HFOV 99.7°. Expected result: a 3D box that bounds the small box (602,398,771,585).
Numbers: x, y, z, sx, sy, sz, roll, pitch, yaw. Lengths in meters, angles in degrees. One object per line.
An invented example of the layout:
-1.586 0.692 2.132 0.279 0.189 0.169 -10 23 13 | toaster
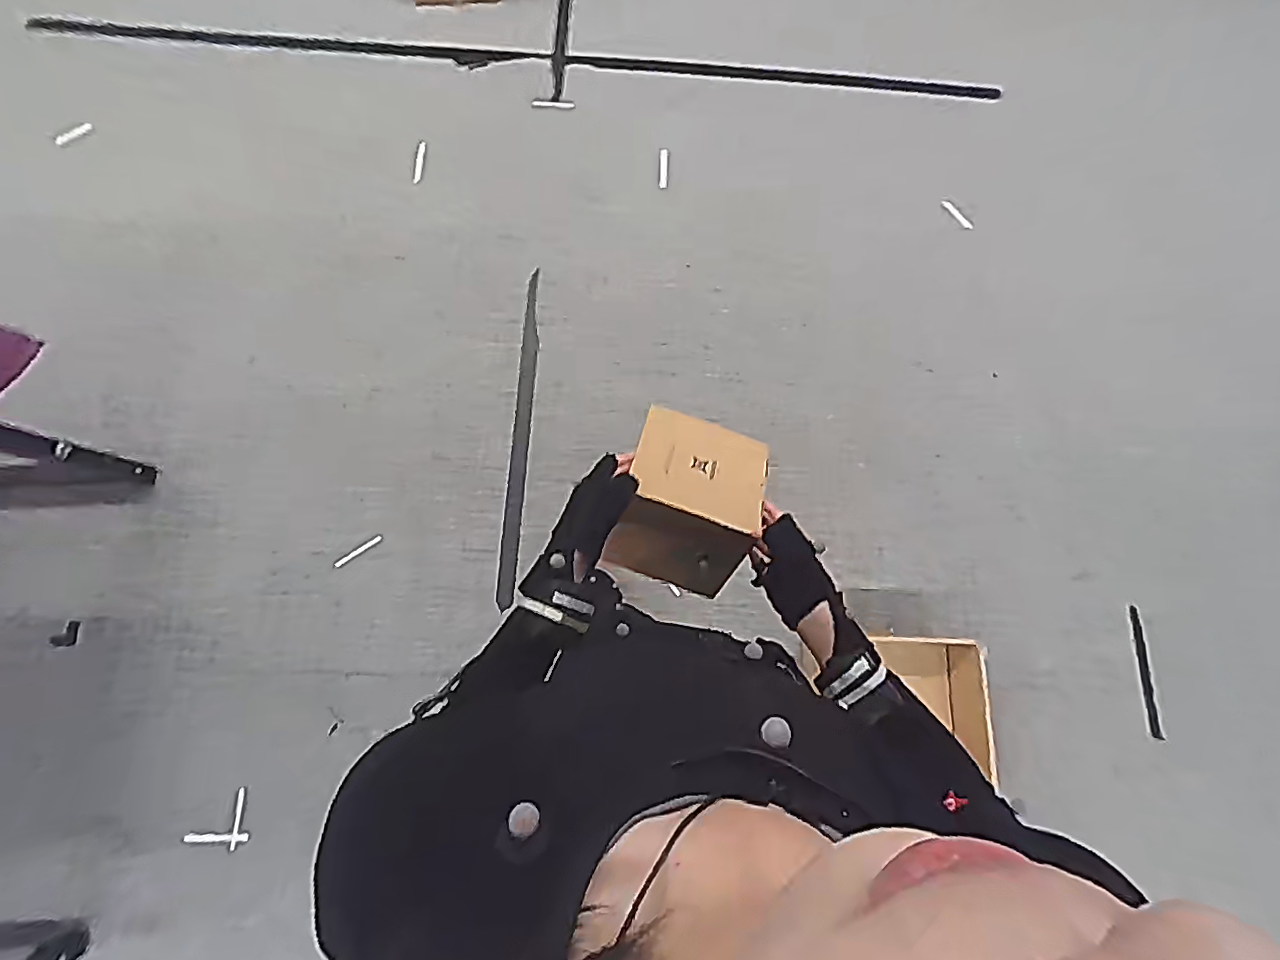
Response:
0.061 0.023 0.742 0.179 0.176 0.168 18 48 -1 | small box

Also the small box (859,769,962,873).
0.646 0.817 1.314 0.168 0.176 0.179 3 76 -1 | small box
